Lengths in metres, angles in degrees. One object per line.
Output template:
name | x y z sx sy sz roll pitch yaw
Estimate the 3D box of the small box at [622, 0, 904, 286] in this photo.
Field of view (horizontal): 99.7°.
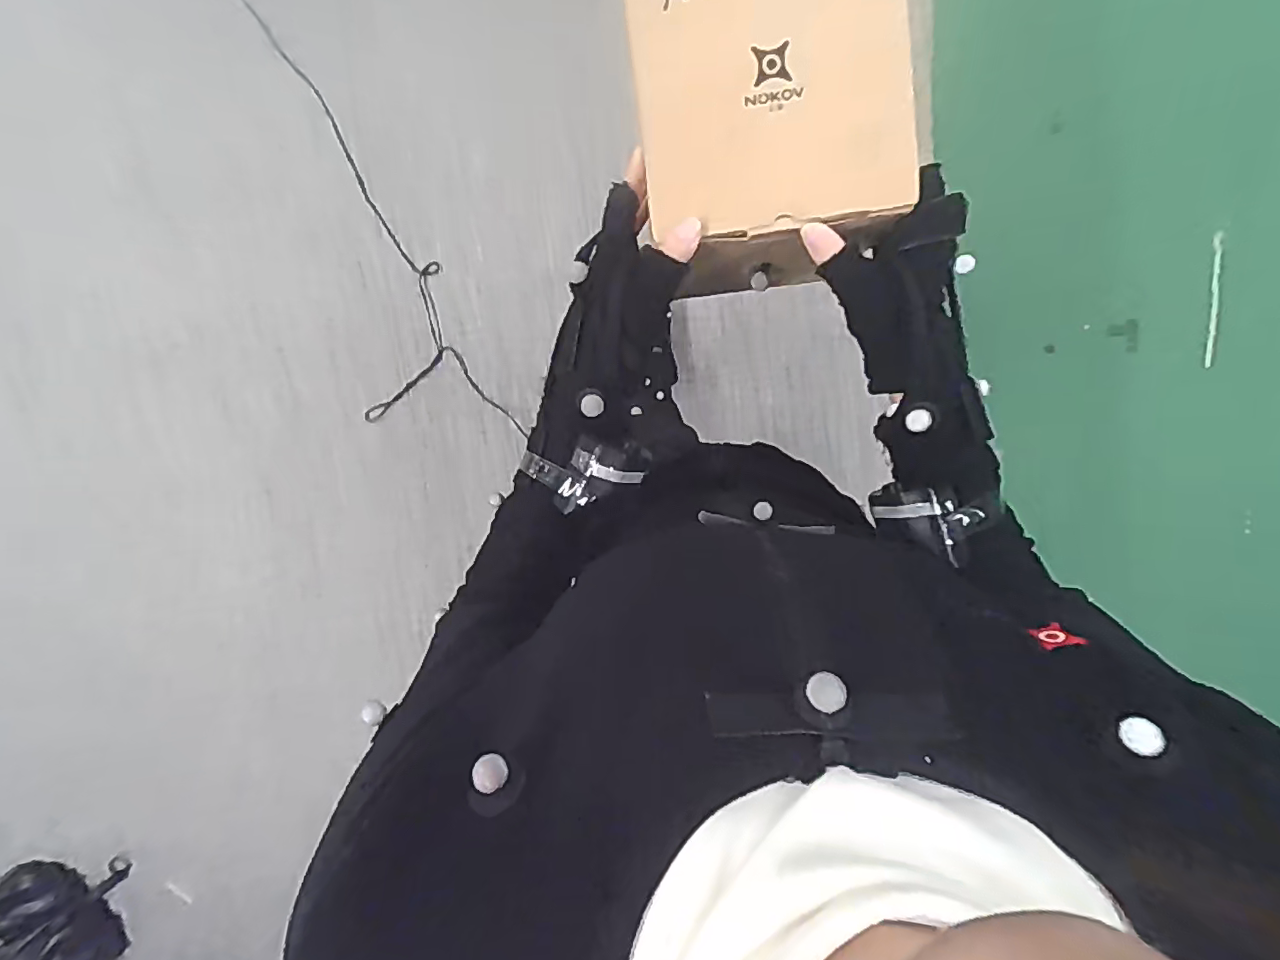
small box | 0.082 -0.256 0.412 0.168 0.176 0.179 -6 98 4
